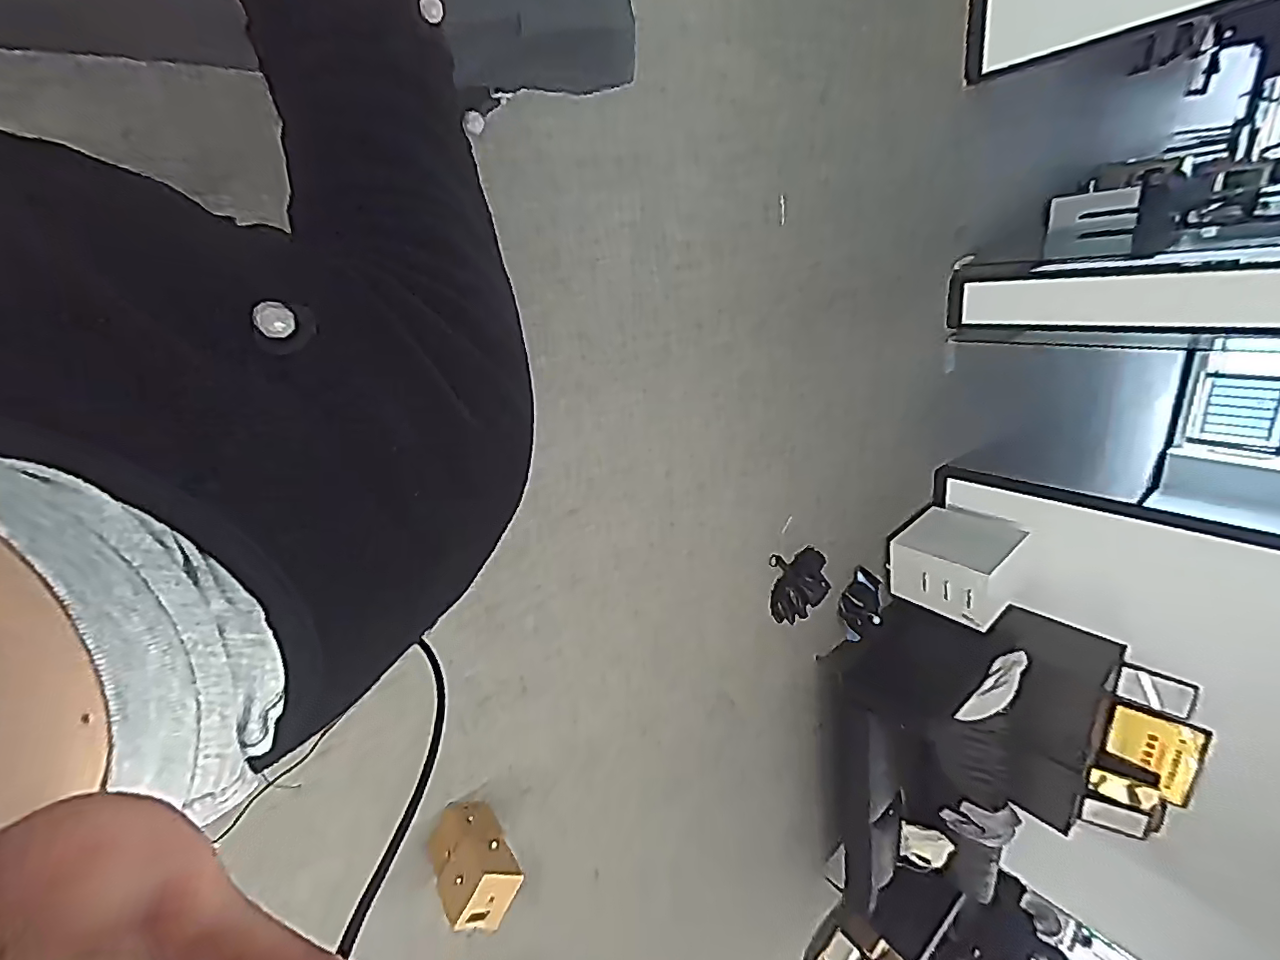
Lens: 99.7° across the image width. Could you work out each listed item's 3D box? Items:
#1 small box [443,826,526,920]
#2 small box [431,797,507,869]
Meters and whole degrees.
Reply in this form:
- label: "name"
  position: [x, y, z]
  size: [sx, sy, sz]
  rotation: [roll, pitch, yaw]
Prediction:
- label: "small box"
  position: [-0.504, 1.250, 1.724]
  size: [0.168, 0.176, 0.179]
  rotation: [37, 78, -39]
- label: "small box"
  position: [-0.593, 1.220, 1.860]
  size: [0.168, 0.176, 0.179]
  rotation: [27, 87, -40]
